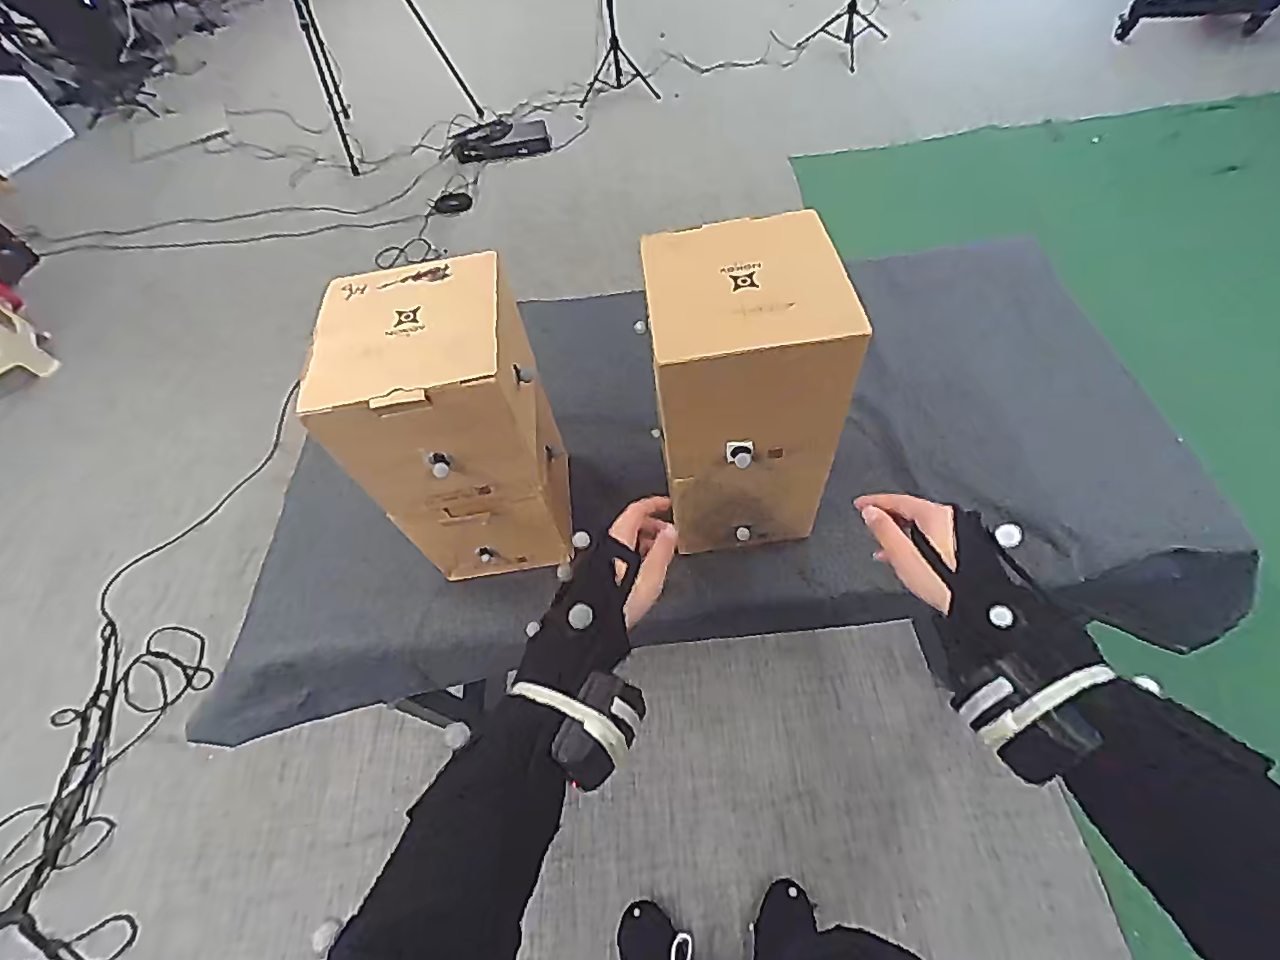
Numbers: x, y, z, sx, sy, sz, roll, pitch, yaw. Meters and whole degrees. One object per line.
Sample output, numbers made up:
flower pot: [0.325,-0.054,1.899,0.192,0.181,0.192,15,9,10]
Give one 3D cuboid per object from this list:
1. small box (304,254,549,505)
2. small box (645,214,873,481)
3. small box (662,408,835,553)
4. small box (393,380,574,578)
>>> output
small box: [-0.192,-0.089,0.541,0.168,0.176,0.179,-10,56,0]
small box: [0.099,-0.123,0.525,0.168,0.176,0.179,-8,55,3]
small box: [0.117,-0.032,0.659,0.168,0.176,0.179,-8,55,2]
small box: [-0.180,0.001,0.677,0.168,0.176,0.179,-9,55,1]
